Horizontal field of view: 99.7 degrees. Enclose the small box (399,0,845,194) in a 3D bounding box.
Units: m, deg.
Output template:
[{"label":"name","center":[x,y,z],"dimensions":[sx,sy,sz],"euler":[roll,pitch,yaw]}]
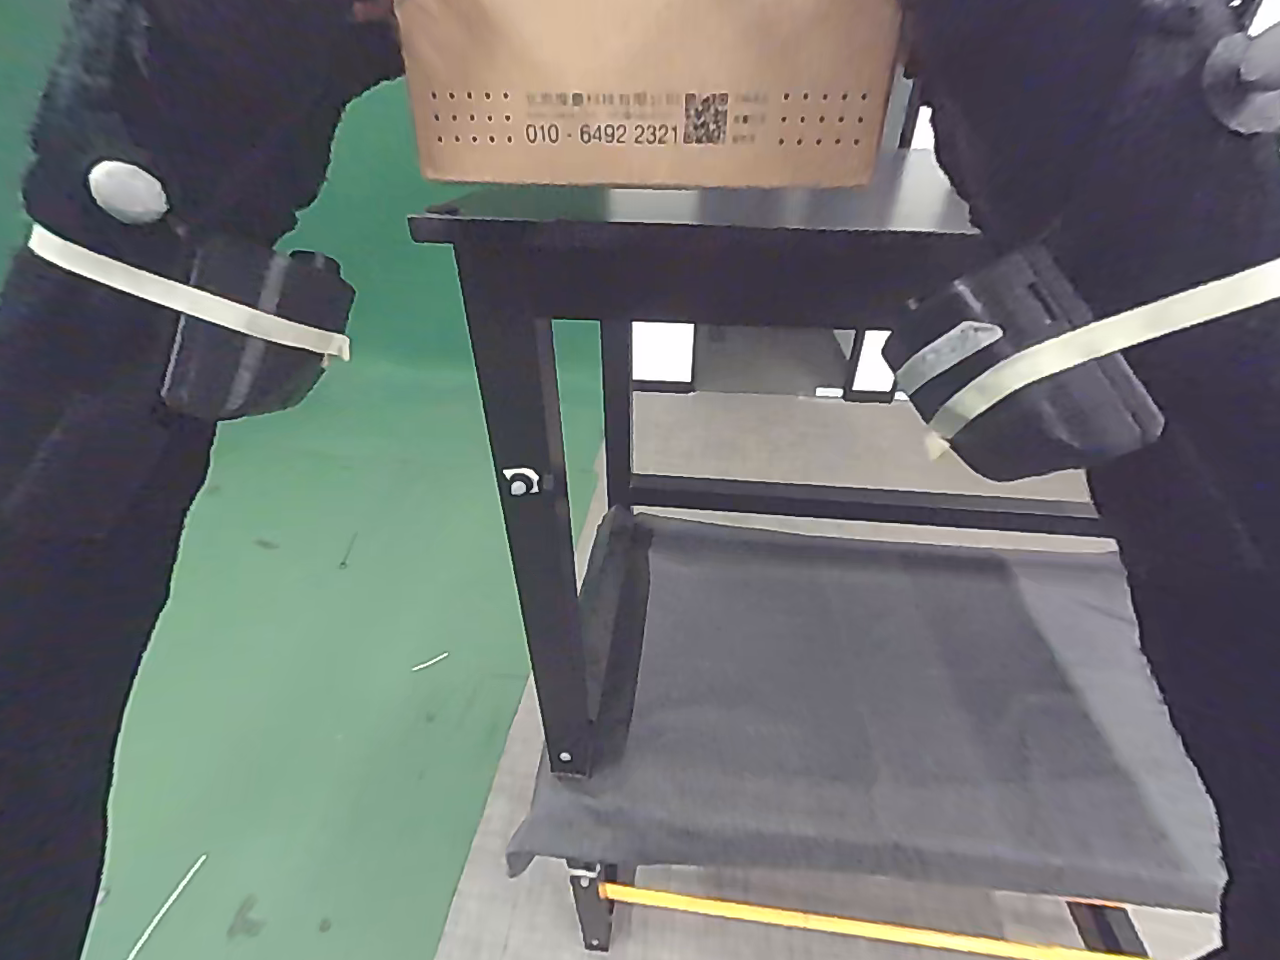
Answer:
[{"label":"small box","center":[-0.002,-0.230,0.247],"dimensions":[0.168,0.176,0.179],"euler":[3,27,3]}]
